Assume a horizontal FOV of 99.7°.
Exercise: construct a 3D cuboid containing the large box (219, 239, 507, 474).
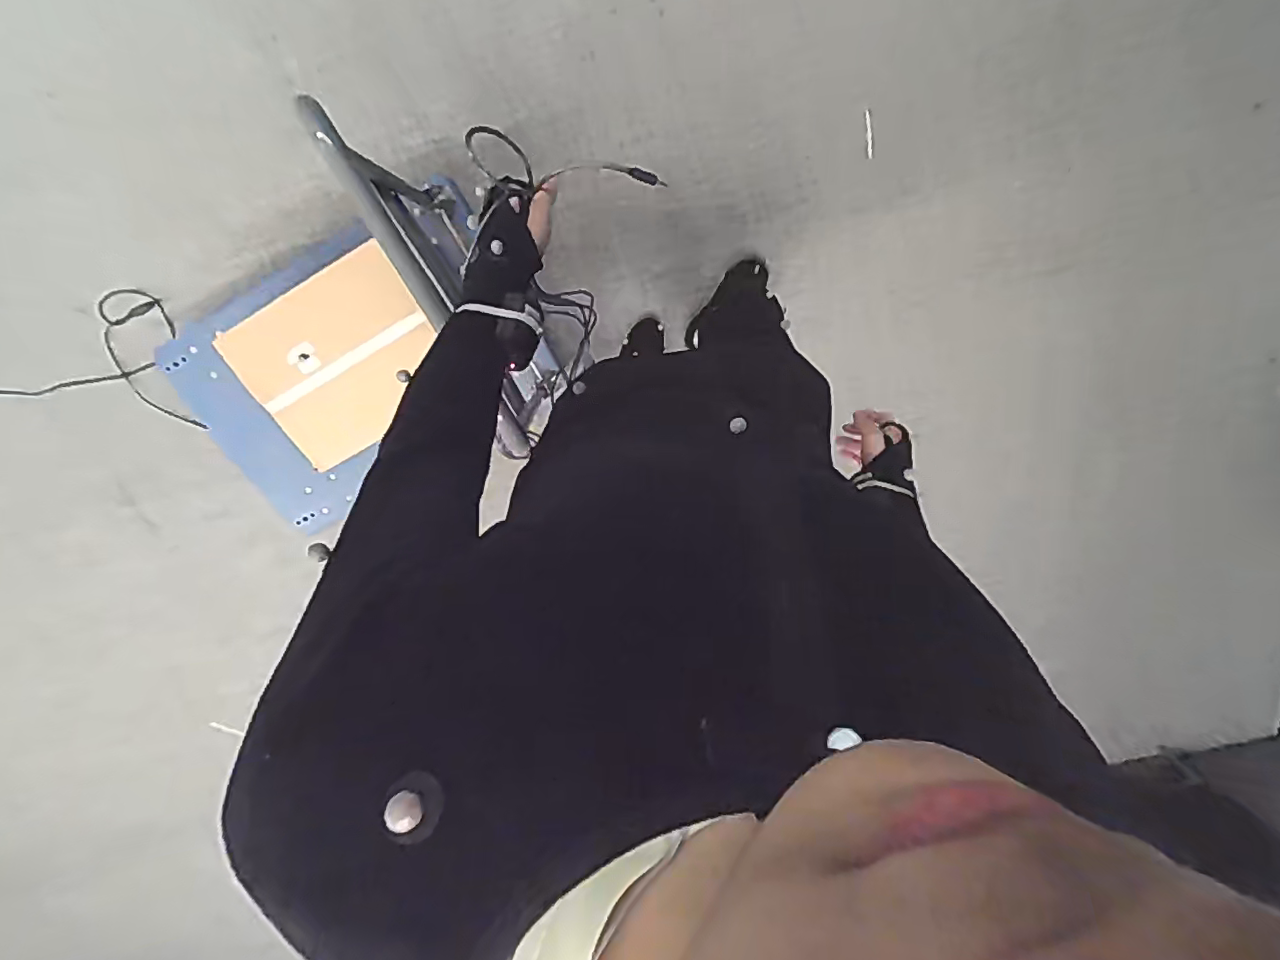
[{"bbox_3d":[-0.567,-0.280,1.191,0.408,0.320,0.320,-27,109,9],"label":"large box"}]
